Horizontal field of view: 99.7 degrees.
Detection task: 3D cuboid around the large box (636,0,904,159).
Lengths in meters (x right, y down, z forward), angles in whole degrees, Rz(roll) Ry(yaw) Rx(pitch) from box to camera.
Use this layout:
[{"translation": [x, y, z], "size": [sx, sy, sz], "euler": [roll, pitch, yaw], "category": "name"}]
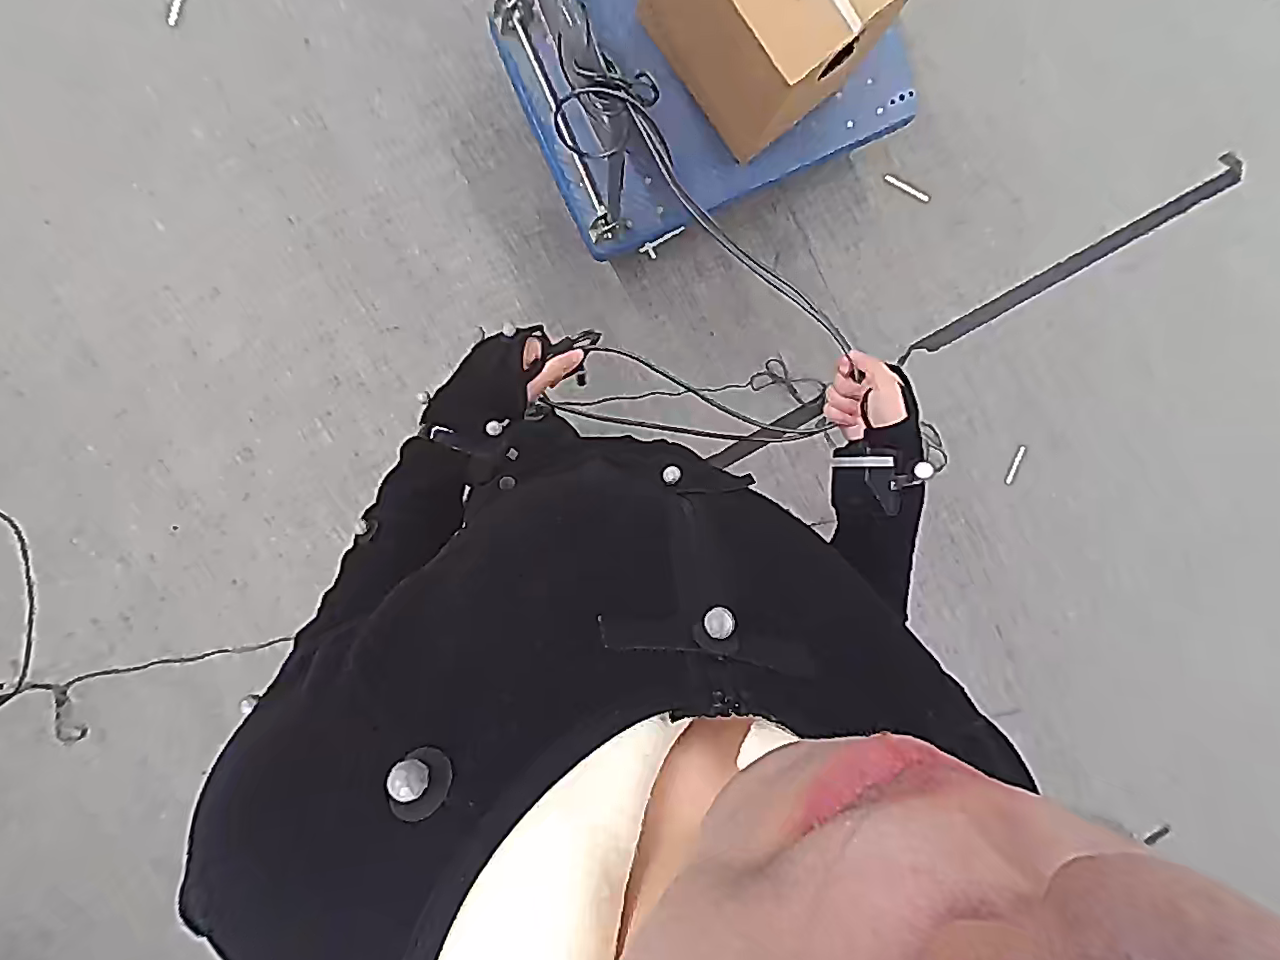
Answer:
[{"translation": [0.245, -0.968, 1.081], "size": [0.320, 0.320, 0.408], "euler": [-40, 100, 1], "category": "large box"}]
